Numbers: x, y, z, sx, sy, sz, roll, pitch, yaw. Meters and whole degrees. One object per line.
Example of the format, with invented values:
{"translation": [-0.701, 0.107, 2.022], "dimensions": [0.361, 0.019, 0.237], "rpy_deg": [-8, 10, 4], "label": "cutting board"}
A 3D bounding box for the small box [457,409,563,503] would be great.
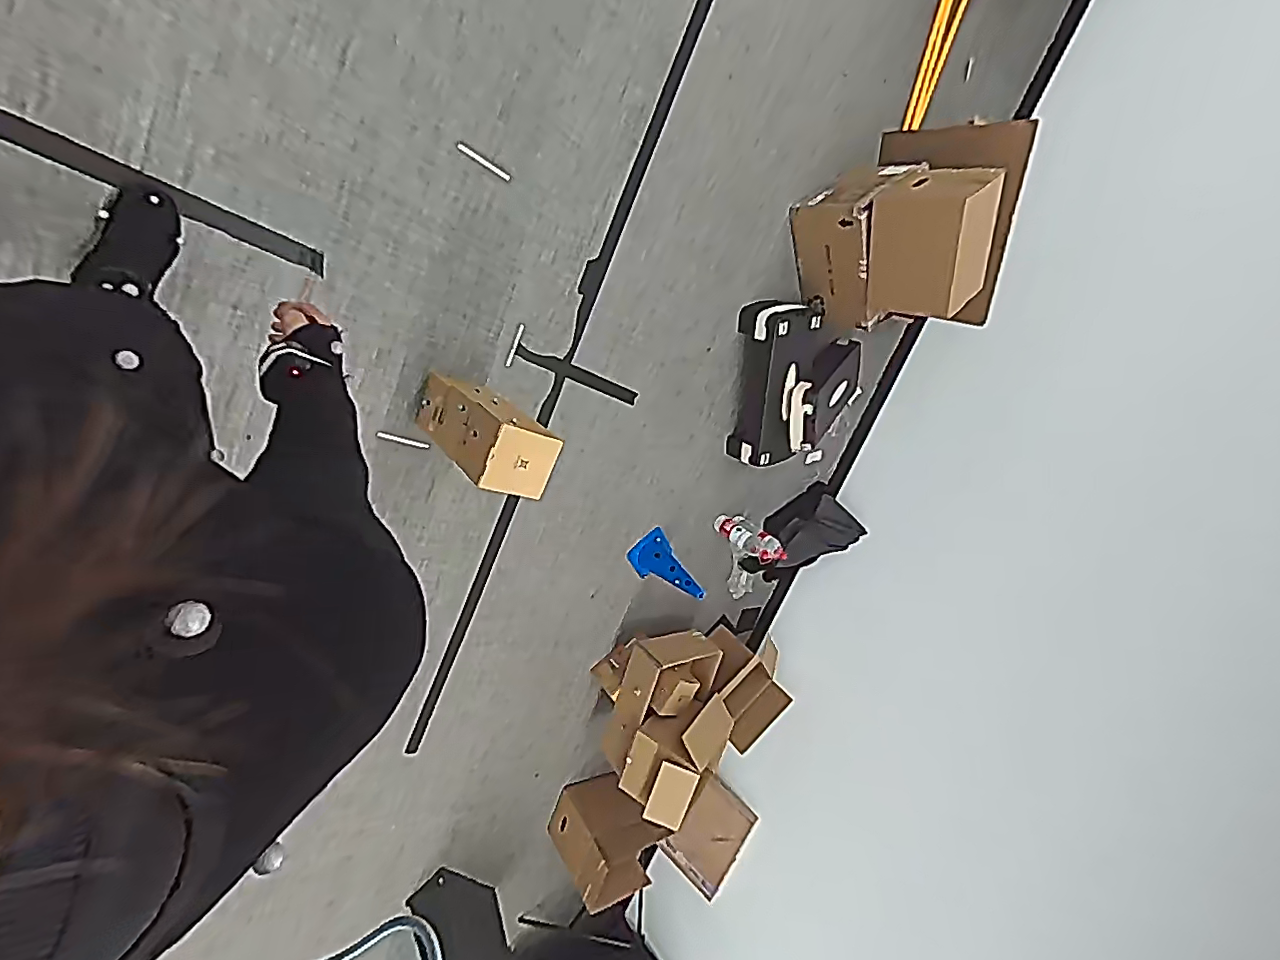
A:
{"translation": [-0.330, -0.063, 1.357], "dimensions": [0.179, 0.176, 0.168], "rpy_deg": [15, 104, -42], "label": "small box"}

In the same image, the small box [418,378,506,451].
{"translation": [-0.526, -0.188, 1.589], "dimensions": [0.179, 0.176, 0.168], "rpy_deg": [11, 106, -41], "label": "small box"}
